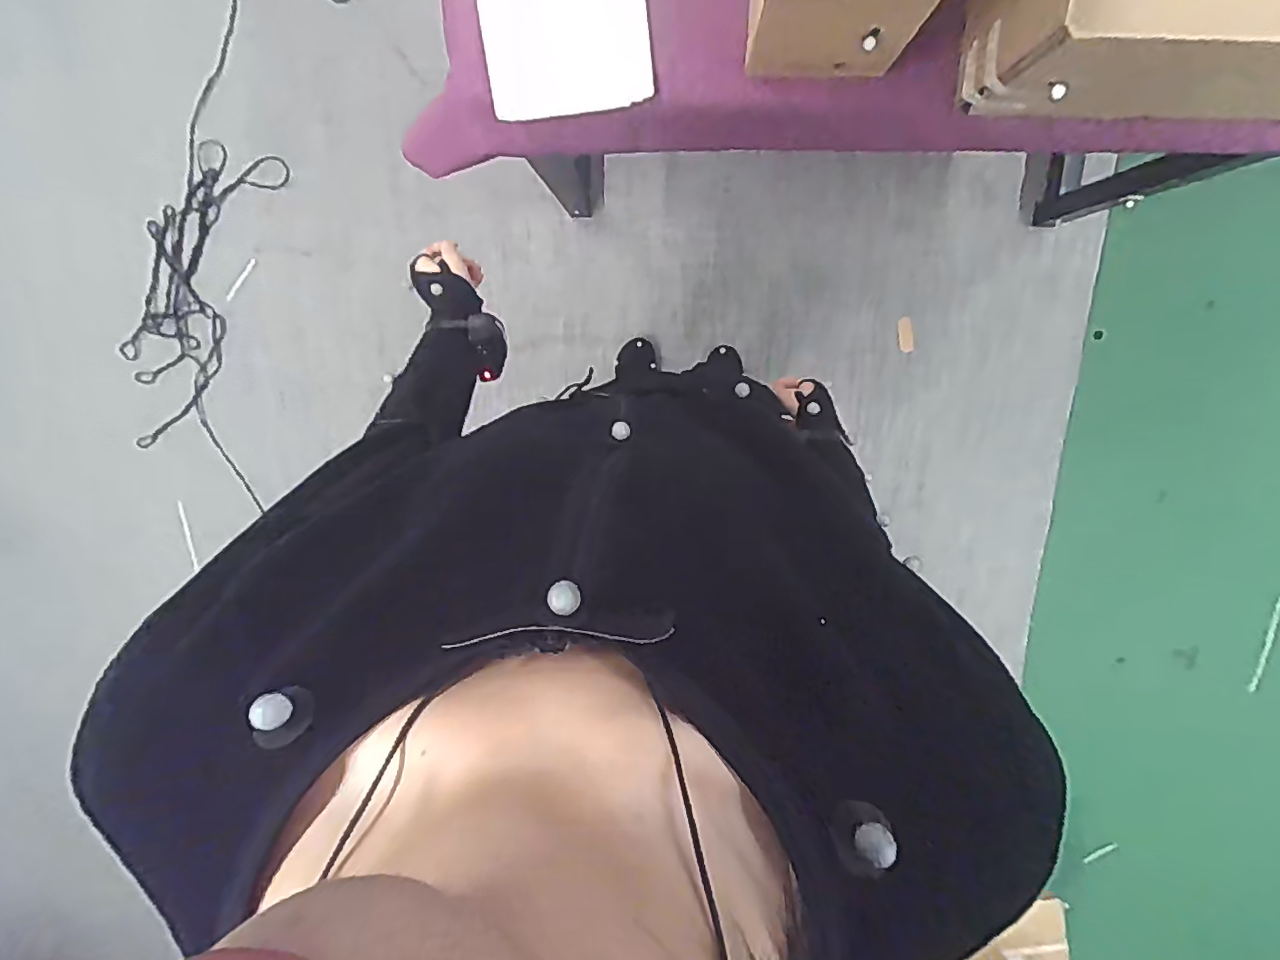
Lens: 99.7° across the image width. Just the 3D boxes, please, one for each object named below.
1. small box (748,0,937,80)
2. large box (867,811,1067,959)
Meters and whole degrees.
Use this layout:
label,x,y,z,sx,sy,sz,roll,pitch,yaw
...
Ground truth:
label,x,y,z,sx,sy,sz,roll,pitch,yaw
small box,0.207,-0.542,0.550,0.168,0.176,0.179,3,102,2
large box,0.954,1.263,1.613,0.408,0.320,0.320,-13,103,5
